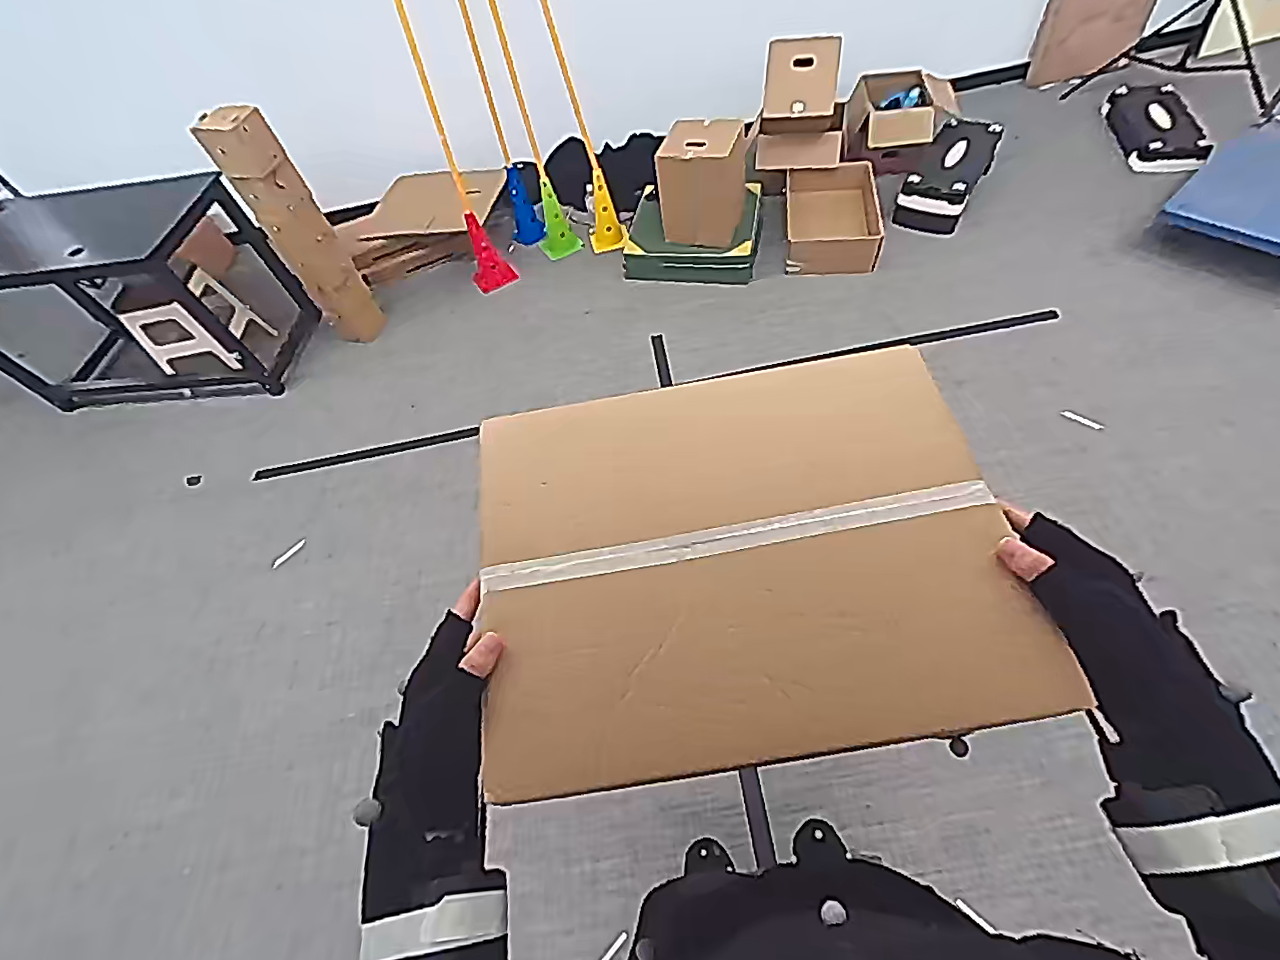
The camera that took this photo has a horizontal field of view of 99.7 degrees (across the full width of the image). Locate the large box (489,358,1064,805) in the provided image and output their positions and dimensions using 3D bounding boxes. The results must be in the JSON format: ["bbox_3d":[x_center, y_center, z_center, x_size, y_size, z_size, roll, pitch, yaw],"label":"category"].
[{"bbox_3d":[0.091,0.121,0.571,0.408,0.320,0.320,-10,61,2],"label":"large box"}]

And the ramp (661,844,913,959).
[{"bbox_3d":[0.363,1.281,0.982,0.509,0.206,0.991,-12,56,0],"label":"ramp"}]
